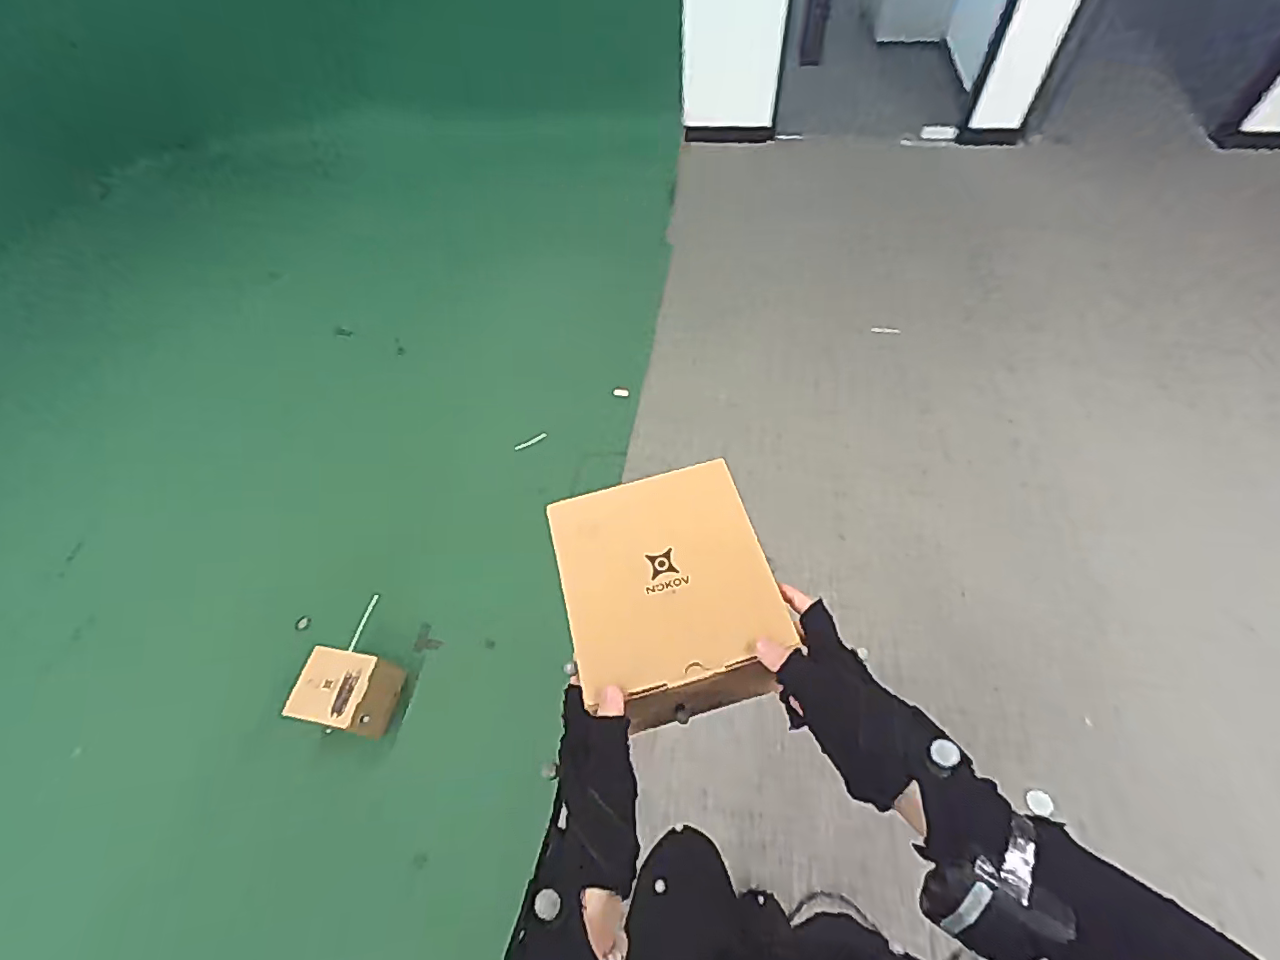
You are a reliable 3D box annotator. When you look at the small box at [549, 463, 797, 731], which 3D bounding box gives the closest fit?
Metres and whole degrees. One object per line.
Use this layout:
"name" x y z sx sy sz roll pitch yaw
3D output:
"small box" 0.022 0.115 0.506 0.168 0.176 0.179 -15 59 -5
